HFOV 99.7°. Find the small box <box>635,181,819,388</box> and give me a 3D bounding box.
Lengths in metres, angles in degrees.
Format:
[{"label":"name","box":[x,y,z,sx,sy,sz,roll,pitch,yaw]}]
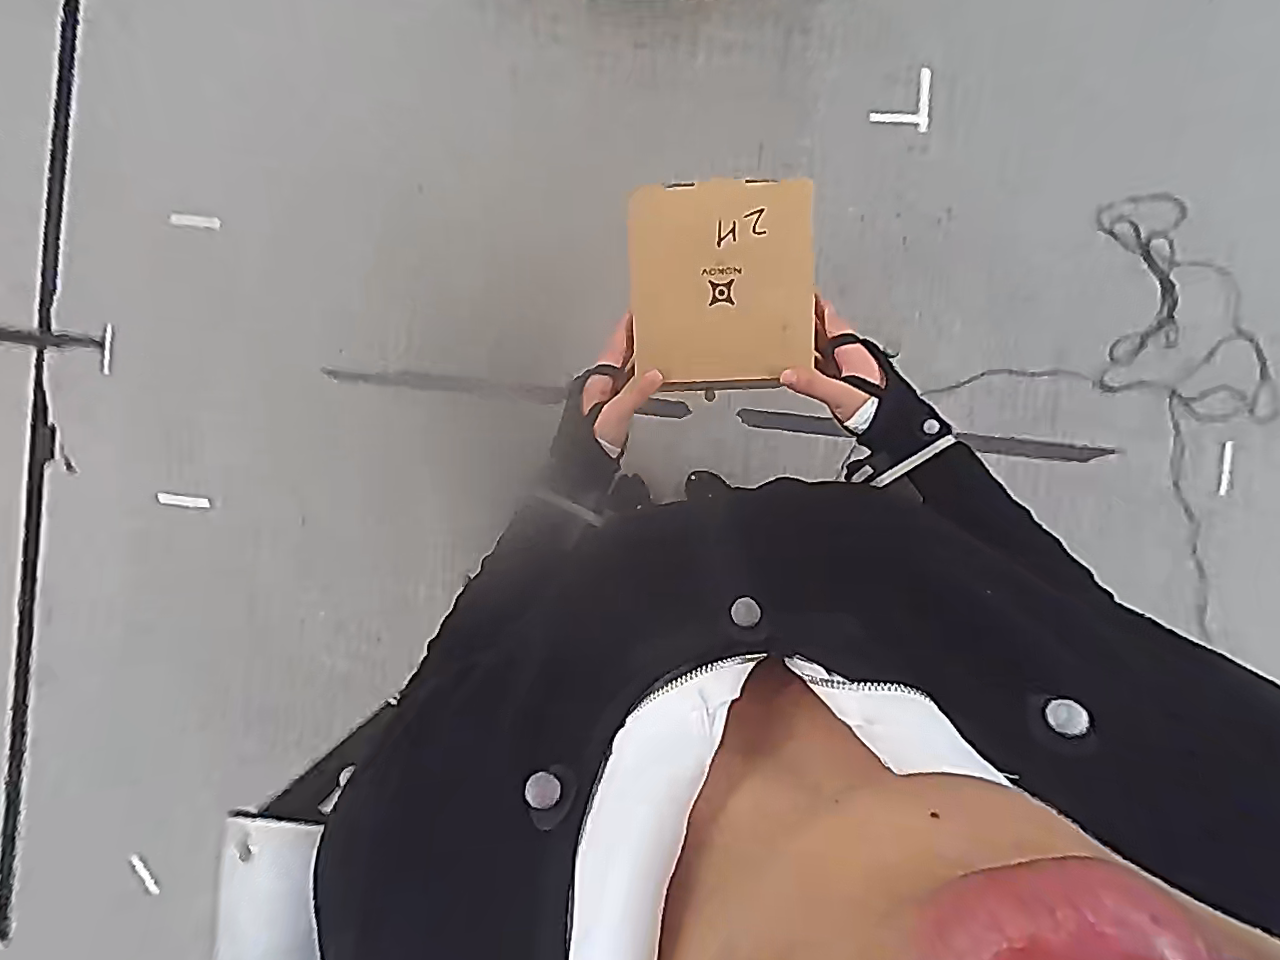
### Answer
[{"label":"small box","box":[0.080,-0.190,0.573,0.168,0.176,0.179,0,95,1]}]
